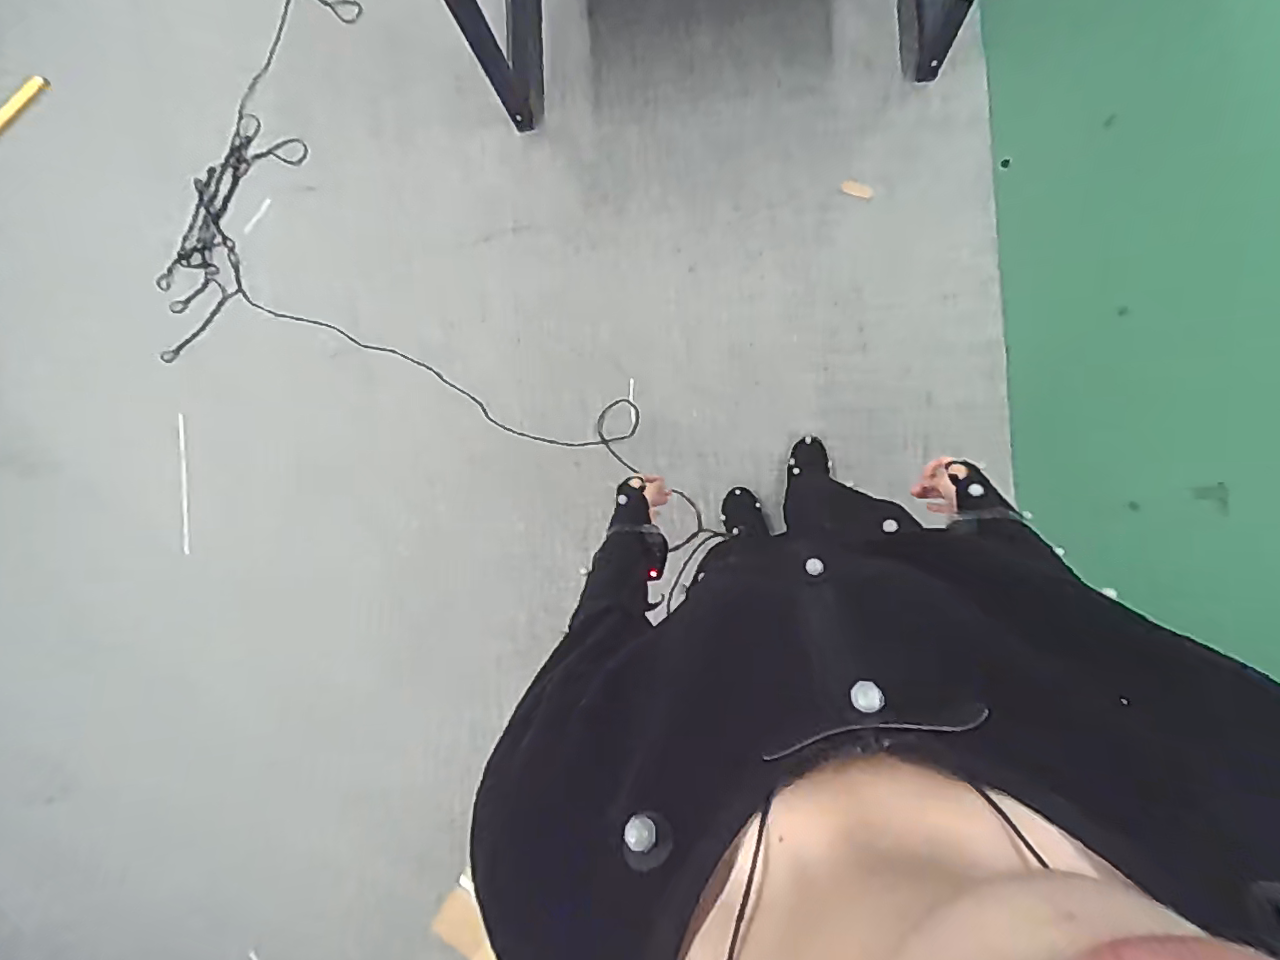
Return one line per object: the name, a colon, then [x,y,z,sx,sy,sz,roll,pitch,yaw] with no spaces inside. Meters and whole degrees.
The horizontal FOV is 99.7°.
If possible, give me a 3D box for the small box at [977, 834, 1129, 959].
small box: [0.773,0.795,1.008,0.179,0.176,0.168,-14,85,9]
